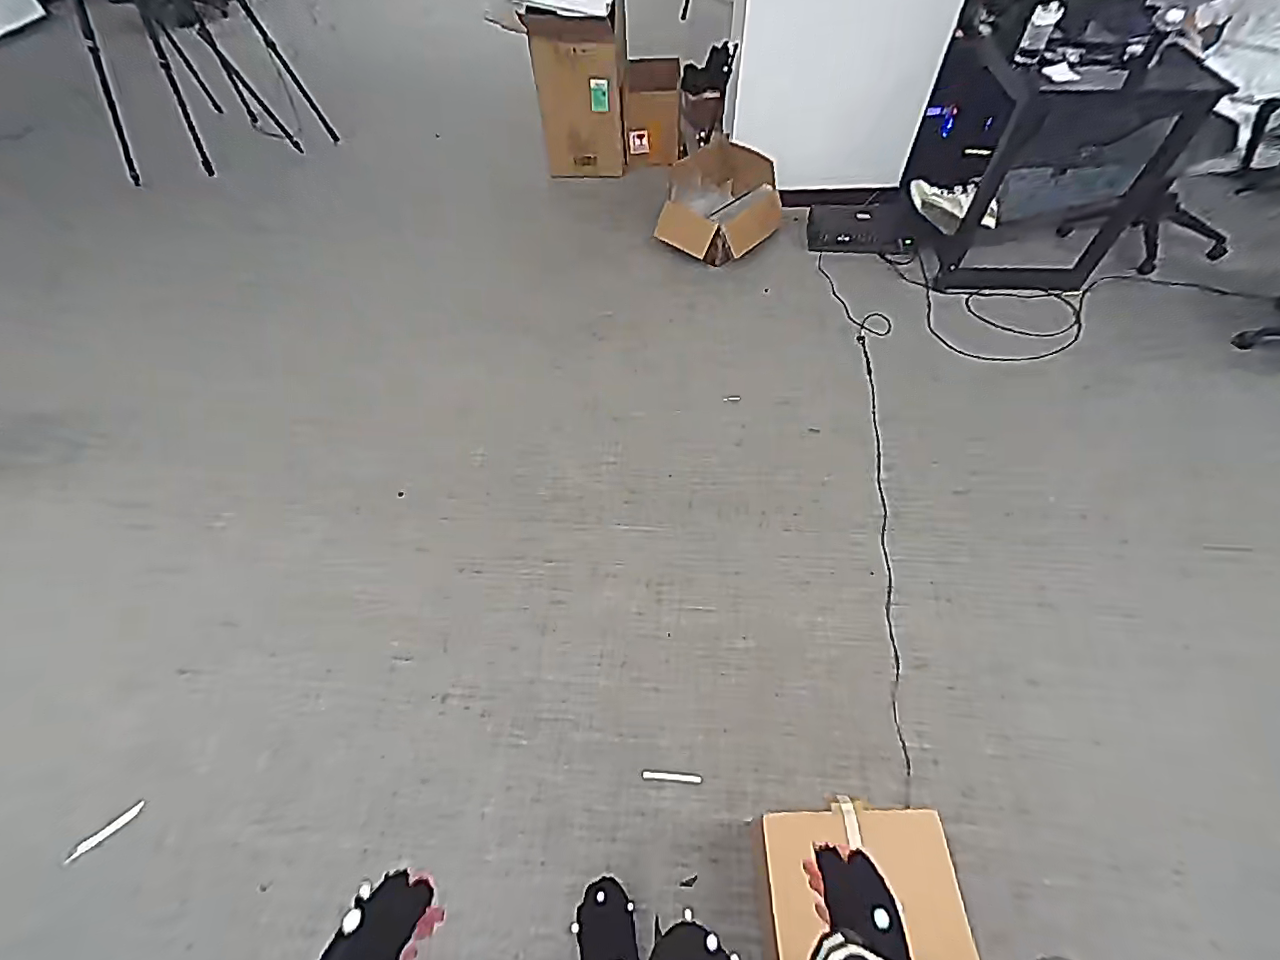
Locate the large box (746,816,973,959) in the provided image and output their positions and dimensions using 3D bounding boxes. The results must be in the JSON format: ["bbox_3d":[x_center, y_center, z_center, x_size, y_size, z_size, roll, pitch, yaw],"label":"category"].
[{"bbox_3d":[0.389,0.864,0.993,0.320,0.320,0.408,-3,56,3],"label":"large box"}]
